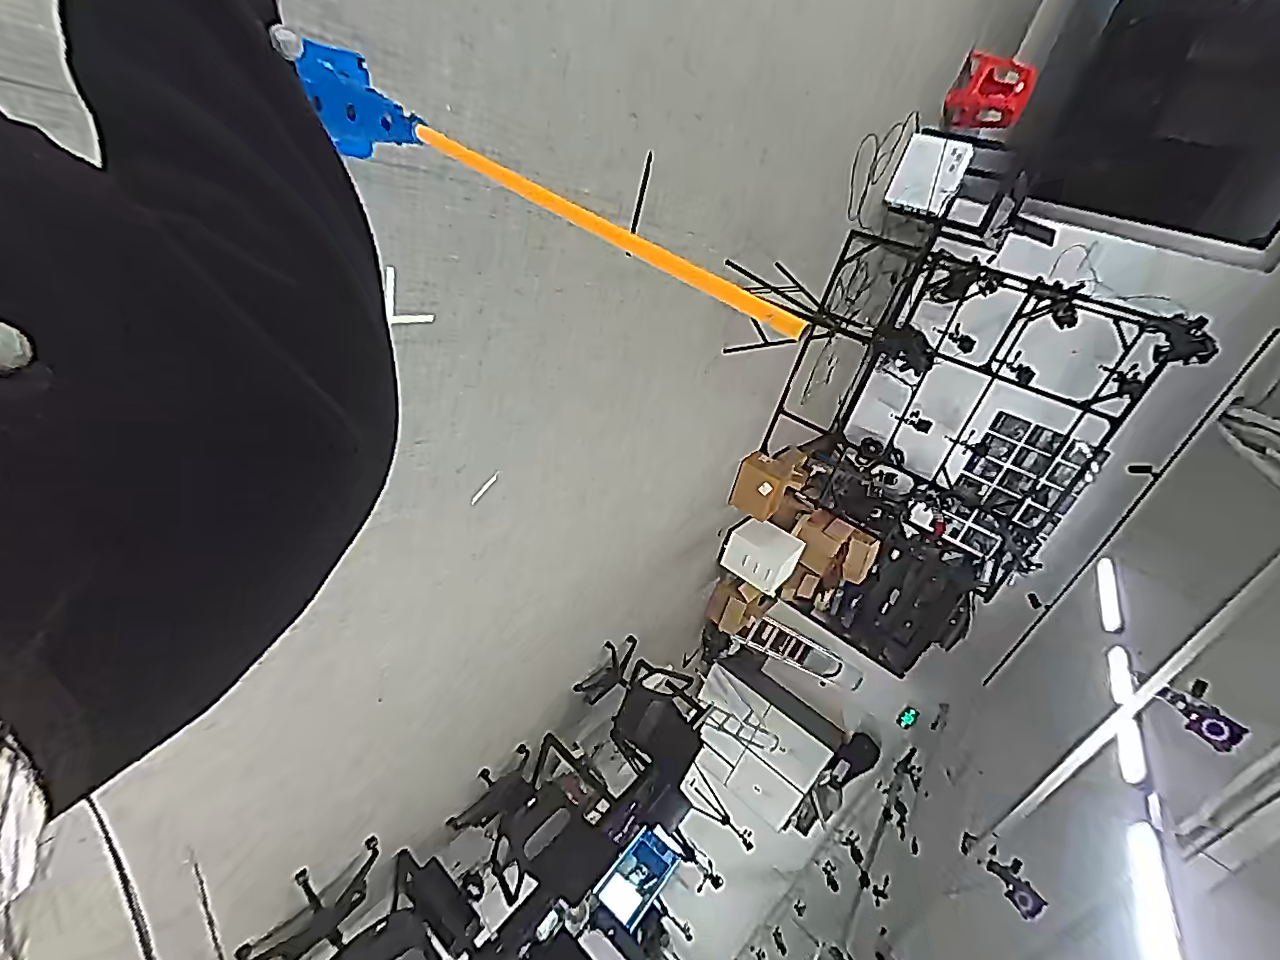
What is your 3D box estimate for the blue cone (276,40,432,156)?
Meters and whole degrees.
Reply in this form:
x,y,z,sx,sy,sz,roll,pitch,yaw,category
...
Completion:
x,y,z,sx,sy,sz,roll,pitch,yaw,category
-0.546,-0.740,1.094,0.193,0.380,0.192,-26,138,-48,blue cone
